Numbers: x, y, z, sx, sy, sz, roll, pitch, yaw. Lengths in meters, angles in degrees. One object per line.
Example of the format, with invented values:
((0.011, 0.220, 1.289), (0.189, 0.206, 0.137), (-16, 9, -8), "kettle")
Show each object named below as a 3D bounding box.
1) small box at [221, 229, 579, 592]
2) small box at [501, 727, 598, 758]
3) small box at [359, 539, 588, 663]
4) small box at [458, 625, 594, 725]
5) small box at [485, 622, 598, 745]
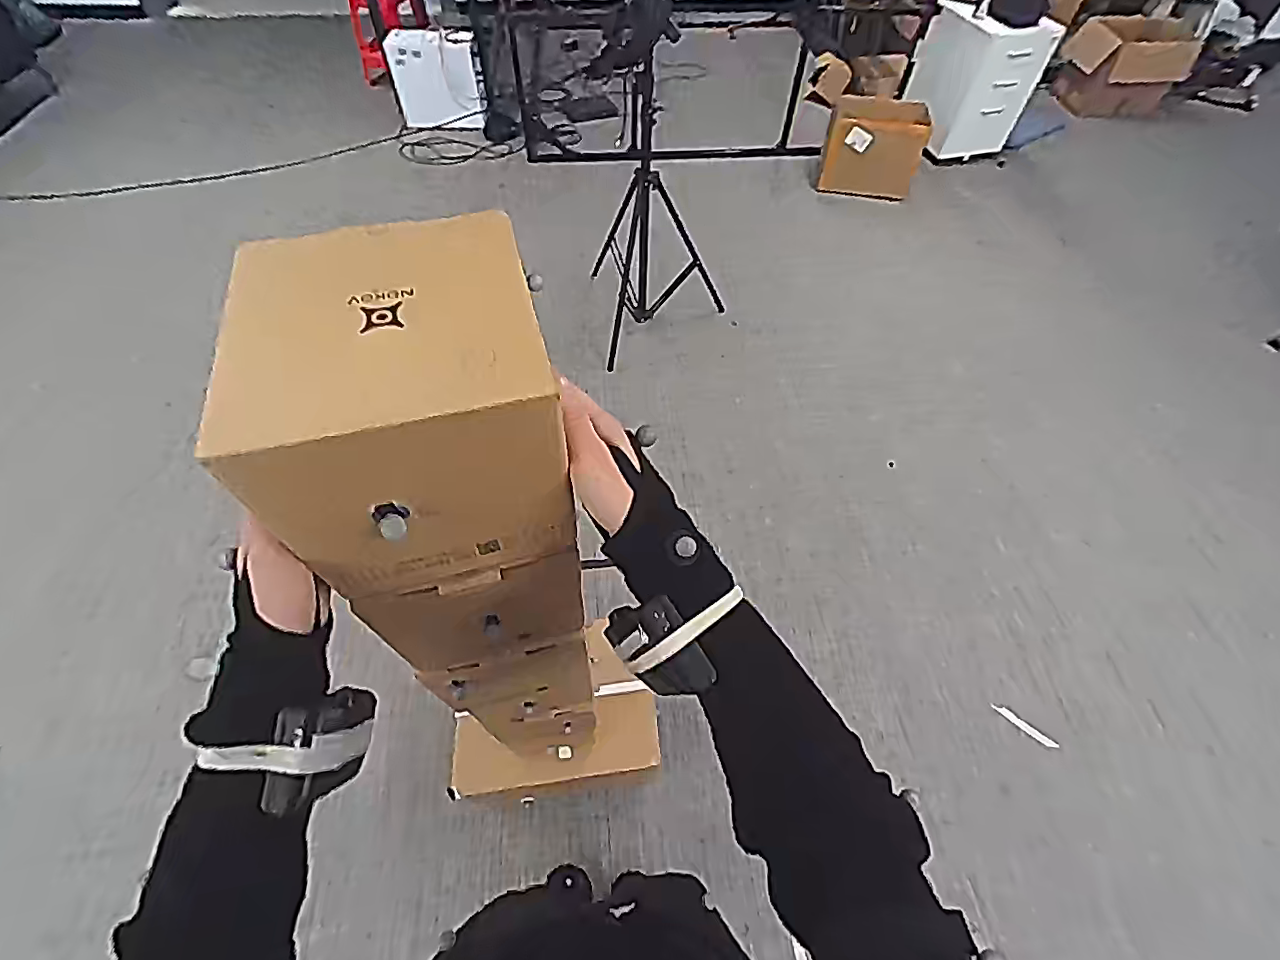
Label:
((-0.142, -0.039, 0.373), (0.168, 0.176, 0.179), (-13, 56, -12), "small box")
((-0.173, 0.422, 1.047), (0.168, 0.176, 0.179), (-6, 57, -6), "small box")
((-0.147, 0.056, 0.506), (0.168, 0.176, 0.179), (-13, 58, -12), "small box")
((-0.161, 0.239, 0.777), (0.168, 0.176, 0.179), (-10, 57, -10), "small box")
((-0.163, 0.335, 0.911), (0.168, 0.176, 0.179), (-6, 55, -8), "small box")
